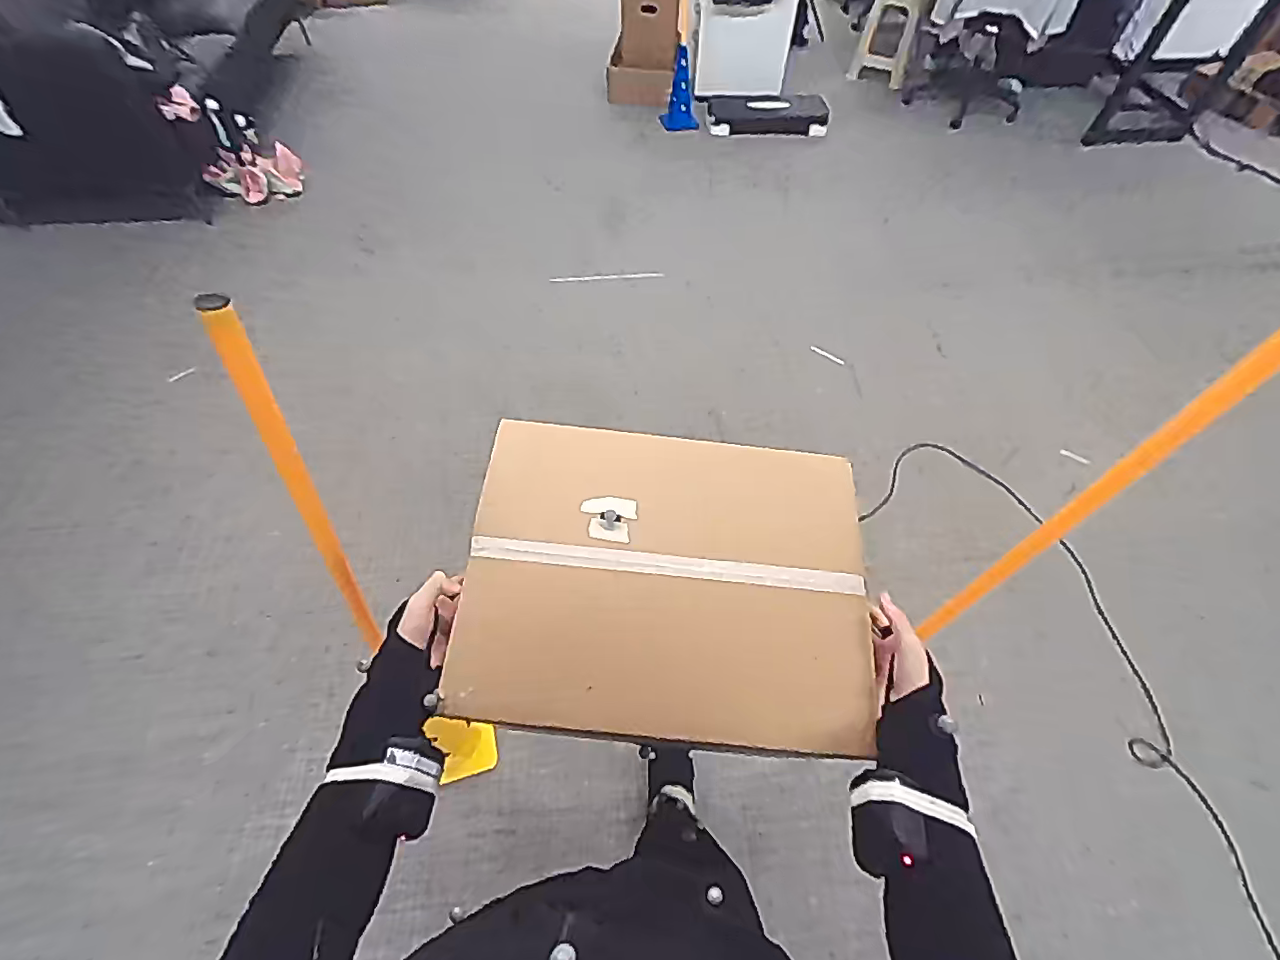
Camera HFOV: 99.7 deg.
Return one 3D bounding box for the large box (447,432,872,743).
[{"bbox_3d":[0.022,0.160,0.698,0.408,0.320,0.320,5,62,-1],"label":"large box"}]
